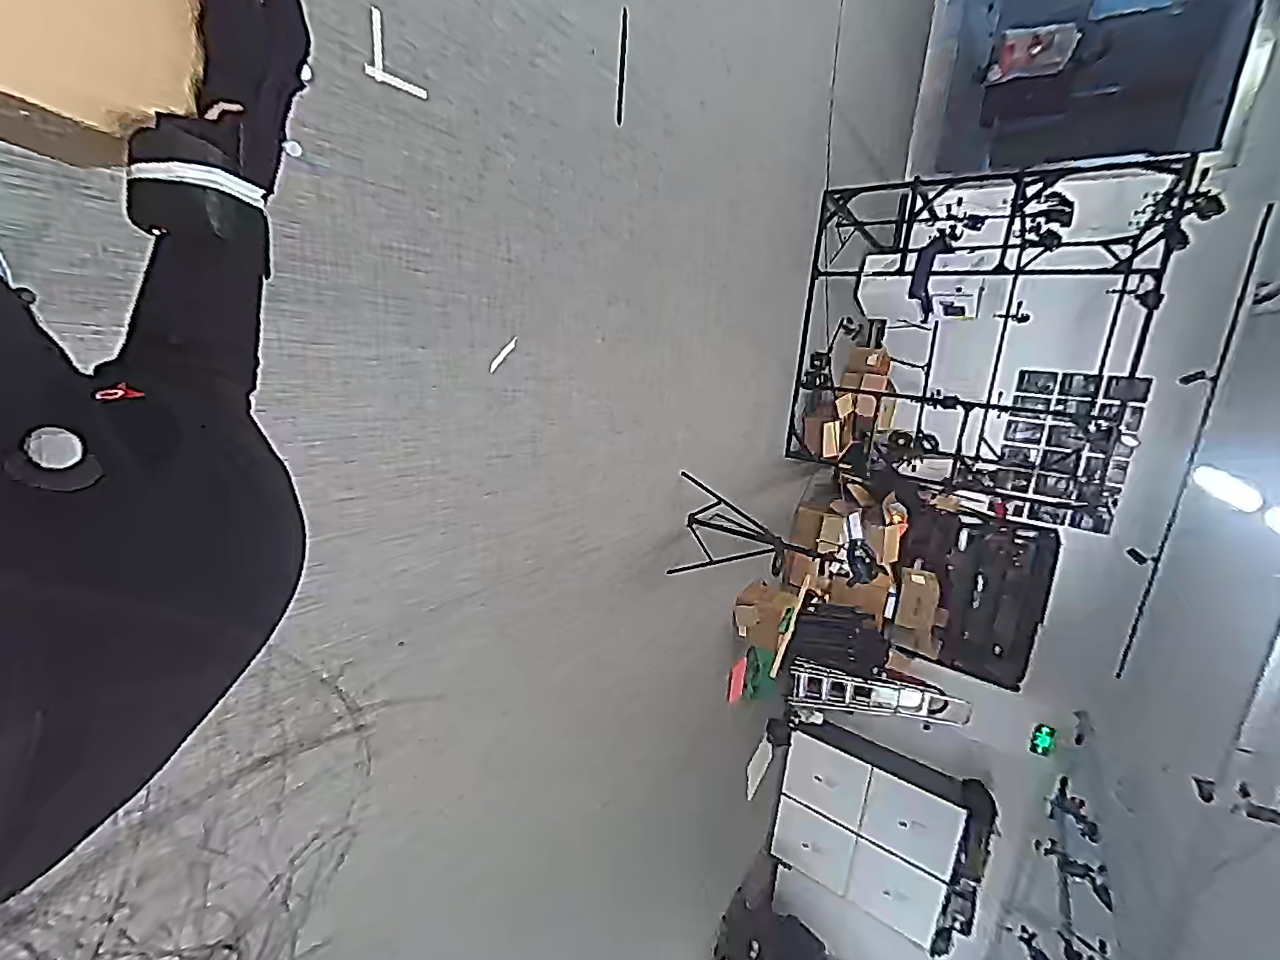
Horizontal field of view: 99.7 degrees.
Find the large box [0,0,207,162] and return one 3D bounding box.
[{"bbox_3d":[-0.533,-0.427,0.295,0.408,0.320,0.320,0,108,-58],"label":"large box"}]
